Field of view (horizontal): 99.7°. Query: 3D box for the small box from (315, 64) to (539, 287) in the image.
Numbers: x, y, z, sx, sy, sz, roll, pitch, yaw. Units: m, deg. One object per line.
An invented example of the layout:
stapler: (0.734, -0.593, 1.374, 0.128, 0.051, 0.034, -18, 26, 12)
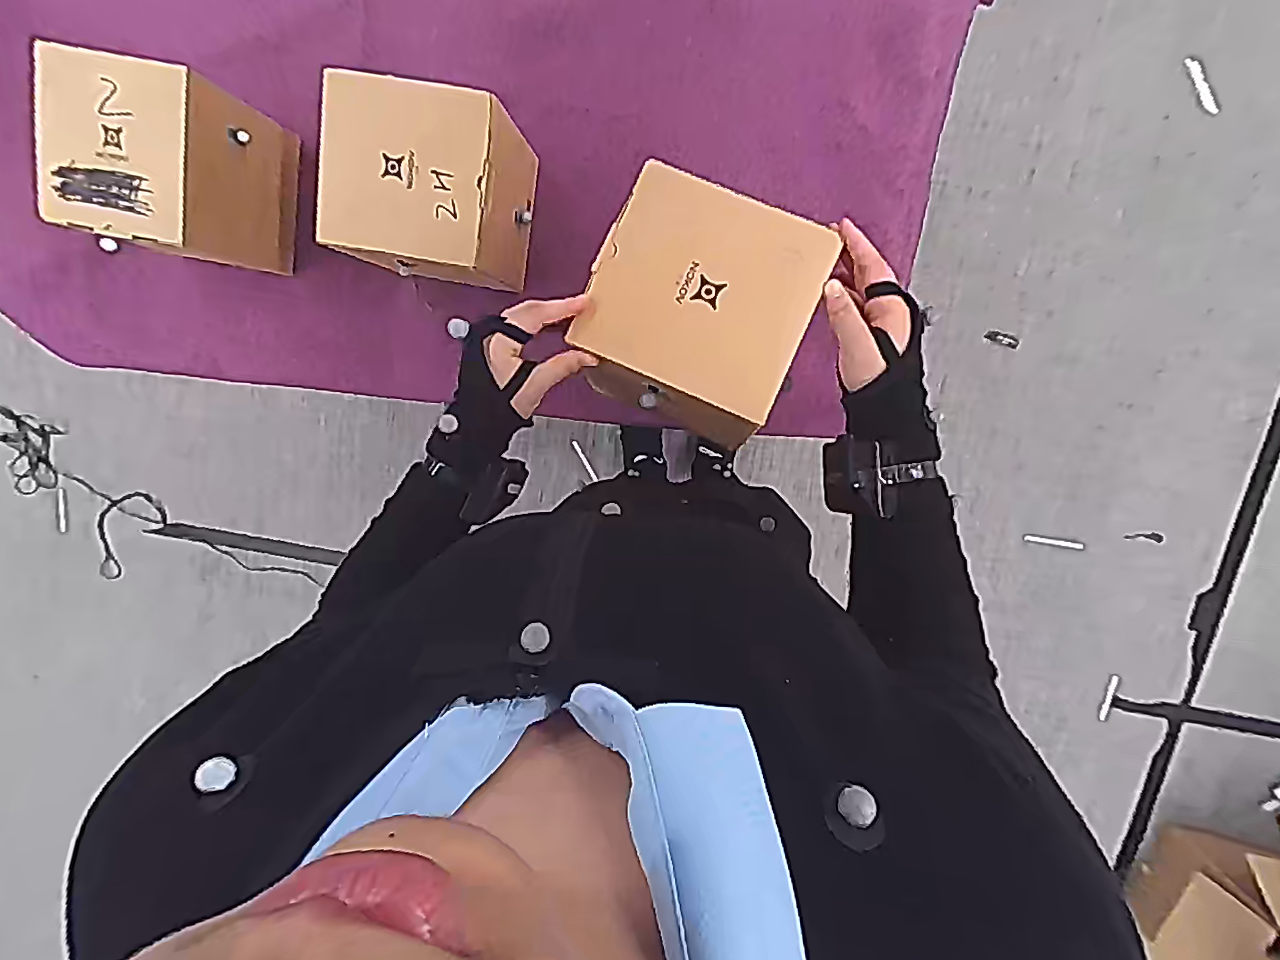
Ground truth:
small box: (-0.231, -0.328, 0.618, 0.179, 0.176, 0.168, 11, 102, 2)
